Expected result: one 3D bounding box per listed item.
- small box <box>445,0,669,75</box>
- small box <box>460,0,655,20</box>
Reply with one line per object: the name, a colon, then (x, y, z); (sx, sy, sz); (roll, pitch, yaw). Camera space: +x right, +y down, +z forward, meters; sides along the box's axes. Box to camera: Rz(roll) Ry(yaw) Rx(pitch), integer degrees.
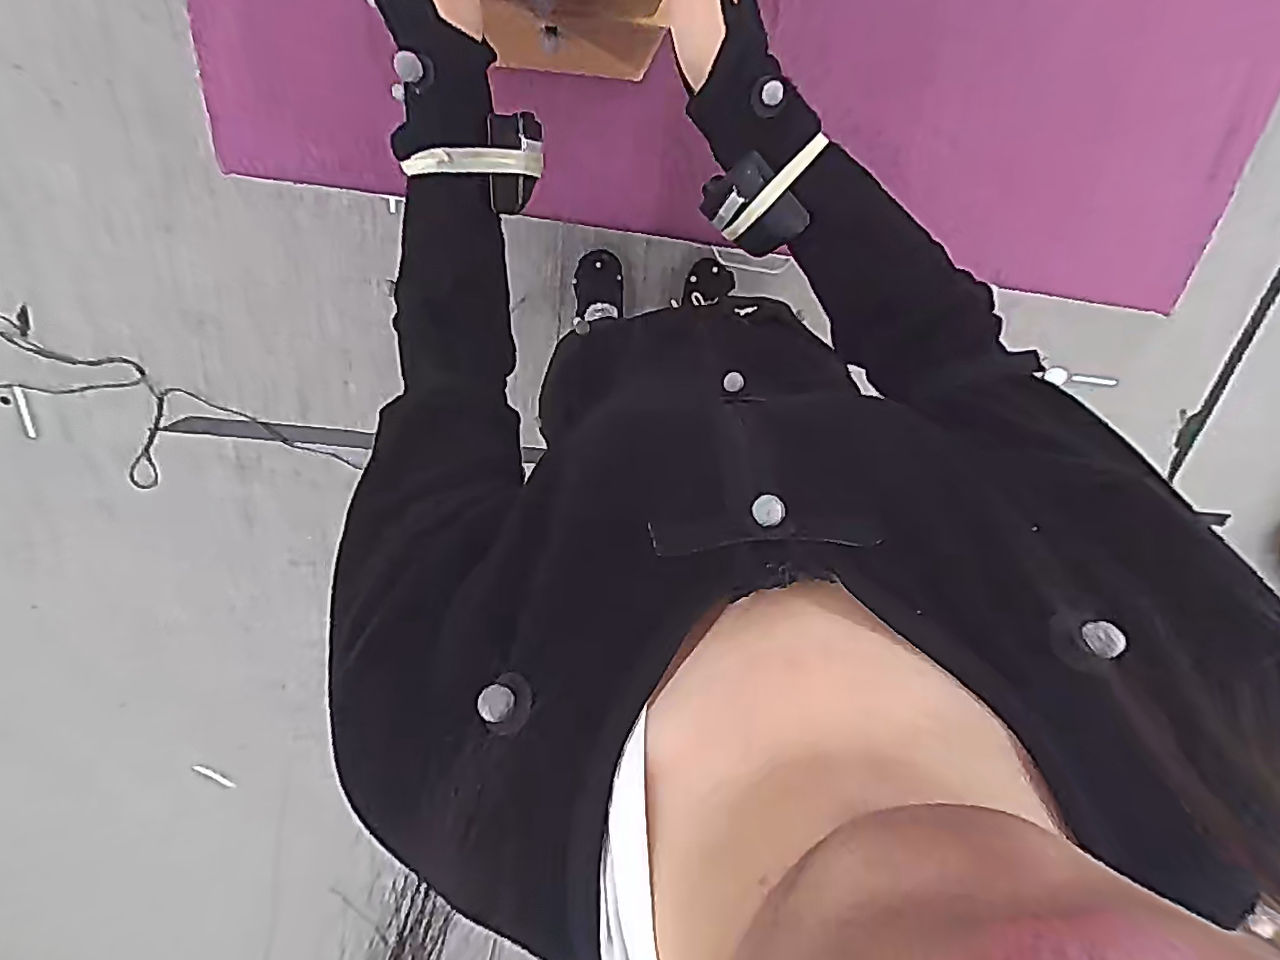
small box: (-0.069, -0.472, 0.464); (0.179, 0.176, 0.168); (1, 114, -8)
small box: (-0.058, -0.410, 0.312); (0.168, 0.176, 0.179); (-1, 116, -6)
